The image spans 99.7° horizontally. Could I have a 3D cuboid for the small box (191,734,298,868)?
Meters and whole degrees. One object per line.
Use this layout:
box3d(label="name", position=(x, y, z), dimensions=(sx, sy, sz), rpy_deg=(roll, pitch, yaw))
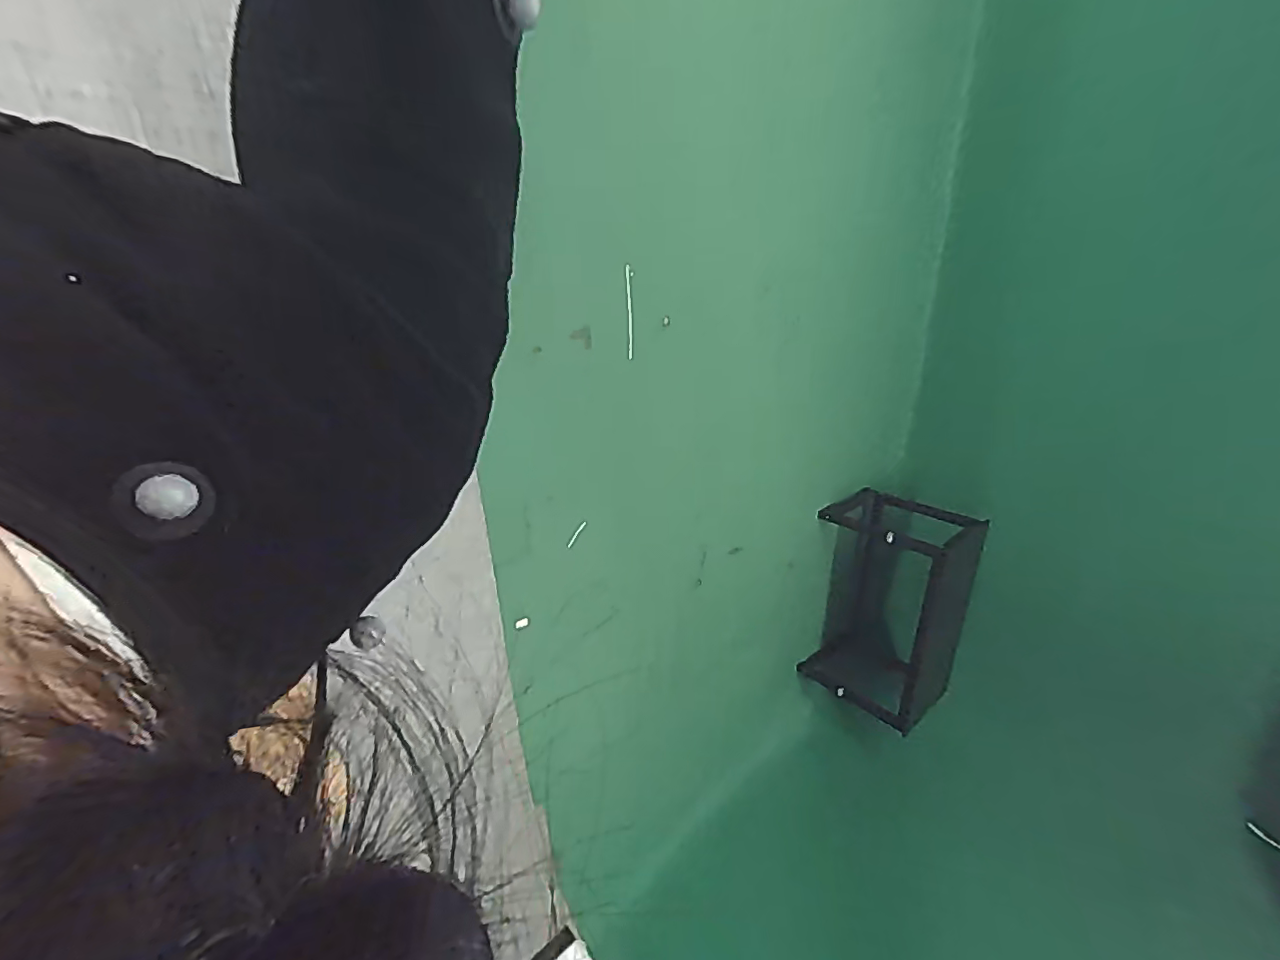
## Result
box3d(label="small box", position=(-0.900, 0.713, 1.230), dimensions=(0.168, 0.176, 0.179), rpy_deg=(-12, 113, -39))
